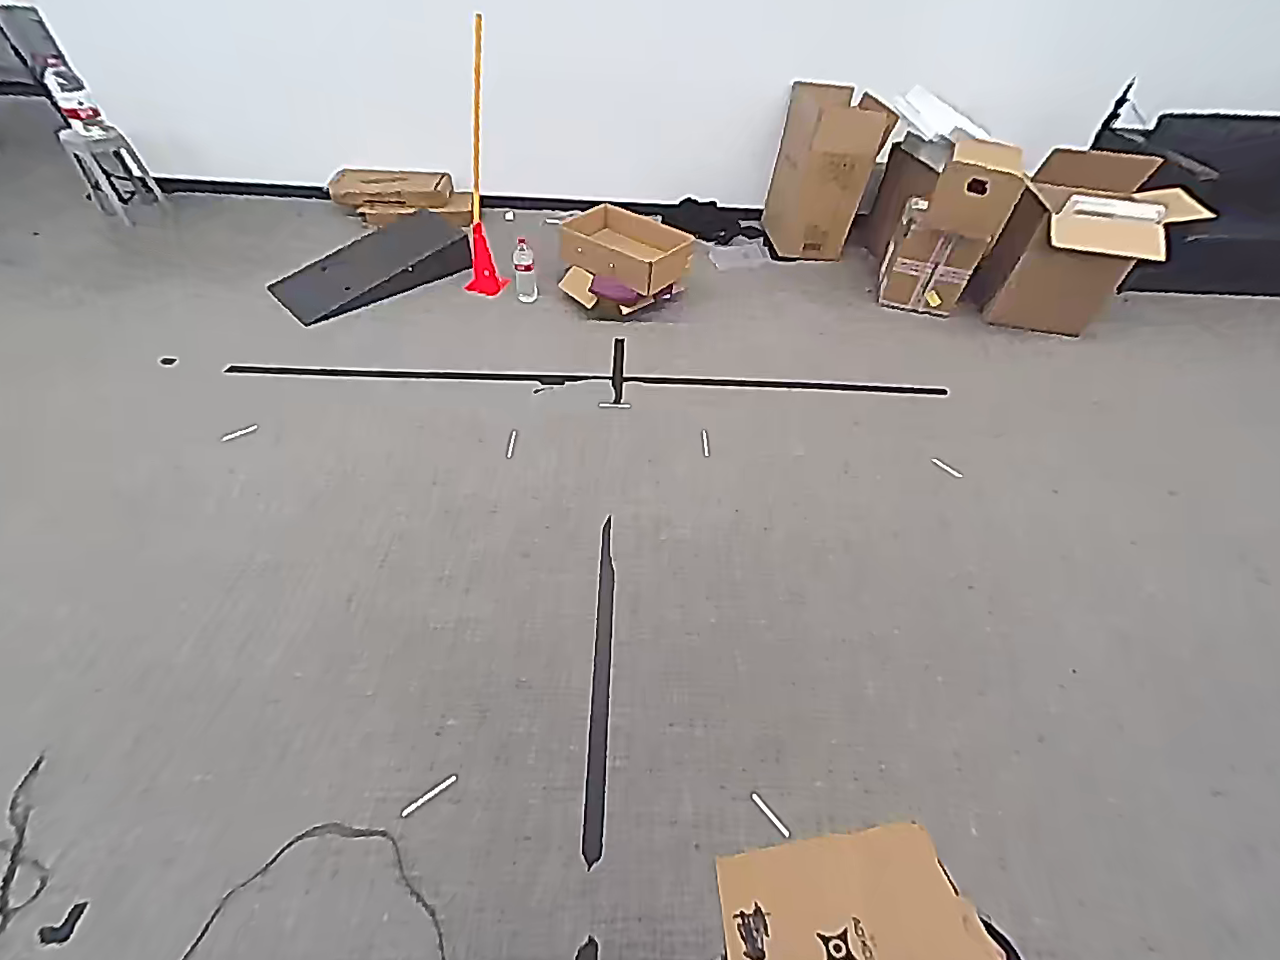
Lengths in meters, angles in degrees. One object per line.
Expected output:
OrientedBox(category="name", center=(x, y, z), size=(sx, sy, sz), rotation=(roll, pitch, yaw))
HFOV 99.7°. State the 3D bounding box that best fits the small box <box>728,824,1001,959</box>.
OrientedBox(category="small box", center=(0.177, 0.408, 0.409), size=(0.179, 0.176, 0.168), rotation=(-13, 15, 5))
